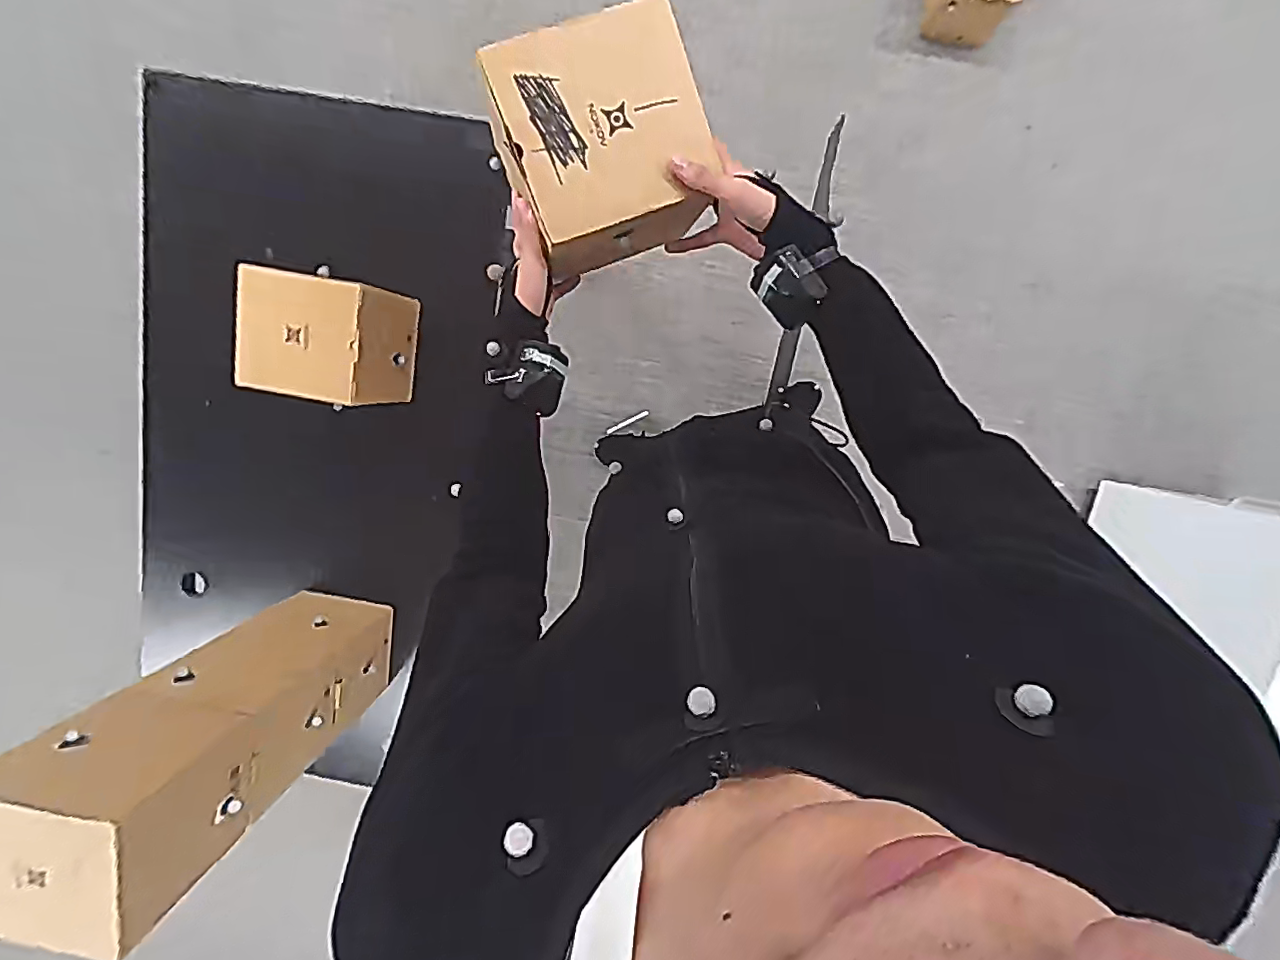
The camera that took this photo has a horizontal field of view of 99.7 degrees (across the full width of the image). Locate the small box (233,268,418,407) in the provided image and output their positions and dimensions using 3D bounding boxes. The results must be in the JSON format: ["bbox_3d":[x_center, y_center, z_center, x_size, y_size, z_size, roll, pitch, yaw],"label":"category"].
[{"bbox_3d":[-0.464,-0.206,0.817,0.179,0.176,0.168,10,100,2],"label":"small box"}]

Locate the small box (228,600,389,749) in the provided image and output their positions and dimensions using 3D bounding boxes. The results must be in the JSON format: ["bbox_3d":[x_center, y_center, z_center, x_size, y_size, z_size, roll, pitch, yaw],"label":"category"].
[{"bbox_3d":[-0.547,0.316,0.911,0.179,0.176,0.168,8,100,2],"label":"small box"}]

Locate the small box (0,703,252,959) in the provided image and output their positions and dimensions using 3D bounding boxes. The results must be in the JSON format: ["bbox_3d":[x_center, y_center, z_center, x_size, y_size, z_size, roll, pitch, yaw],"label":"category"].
[{"bbox_3d":[-0.571,0.369,0.588,0.179,0.176,0.168,9,101,2],"label":"small box"}]

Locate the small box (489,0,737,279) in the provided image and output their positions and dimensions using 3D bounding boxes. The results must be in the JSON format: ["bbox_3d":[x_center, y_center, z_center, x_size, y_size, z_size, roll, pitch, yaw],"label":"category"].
[{"bbox_3d":[-0.031,-0.320,0.541,0.179,0.176,0.168,-22,101,-7],"label":"small box"}]

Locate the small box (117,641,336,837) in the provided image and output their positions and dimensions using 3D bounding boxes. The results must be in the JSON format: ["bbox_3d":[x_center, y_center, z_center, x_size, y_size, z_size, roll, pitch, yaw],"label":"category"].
[{"bbox_3d":[-0.560,0.343,0.749,0.179,0.176,0.168,9,101,2],"label":"small box"}]
